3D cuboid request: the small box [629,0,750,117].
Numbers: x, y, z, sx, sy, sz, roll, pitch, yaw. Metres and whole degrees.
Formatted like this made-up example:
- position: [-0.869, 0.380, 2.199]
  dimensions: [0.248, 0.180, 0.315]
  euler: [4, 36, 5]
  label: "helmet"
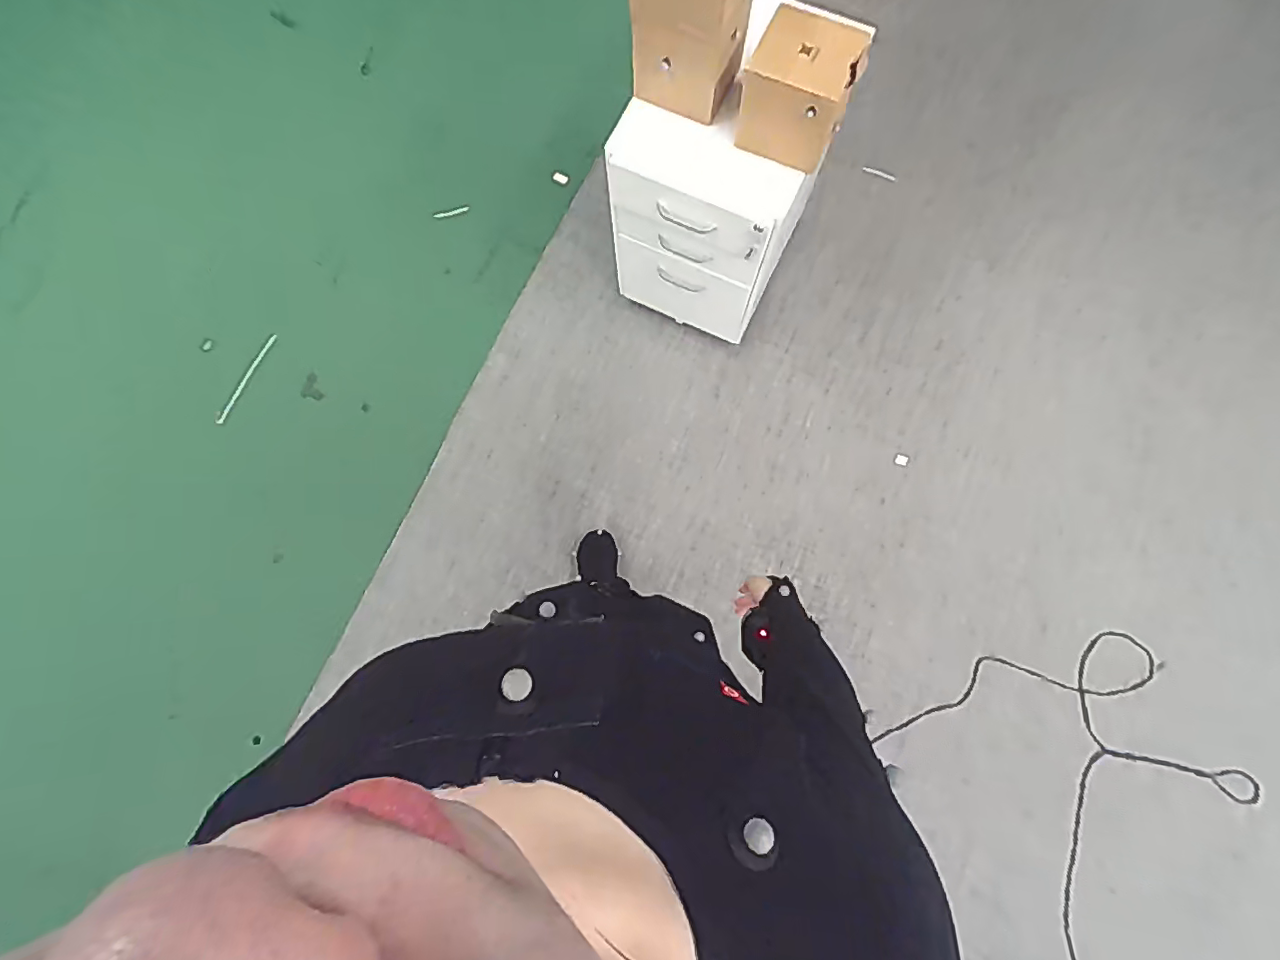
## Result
- position: [0.093, -0.849, 1.040]
  dimensions: [0.179, 0.176, 0.168]
  euler: [25, 81, 5]
  label: "small box"
